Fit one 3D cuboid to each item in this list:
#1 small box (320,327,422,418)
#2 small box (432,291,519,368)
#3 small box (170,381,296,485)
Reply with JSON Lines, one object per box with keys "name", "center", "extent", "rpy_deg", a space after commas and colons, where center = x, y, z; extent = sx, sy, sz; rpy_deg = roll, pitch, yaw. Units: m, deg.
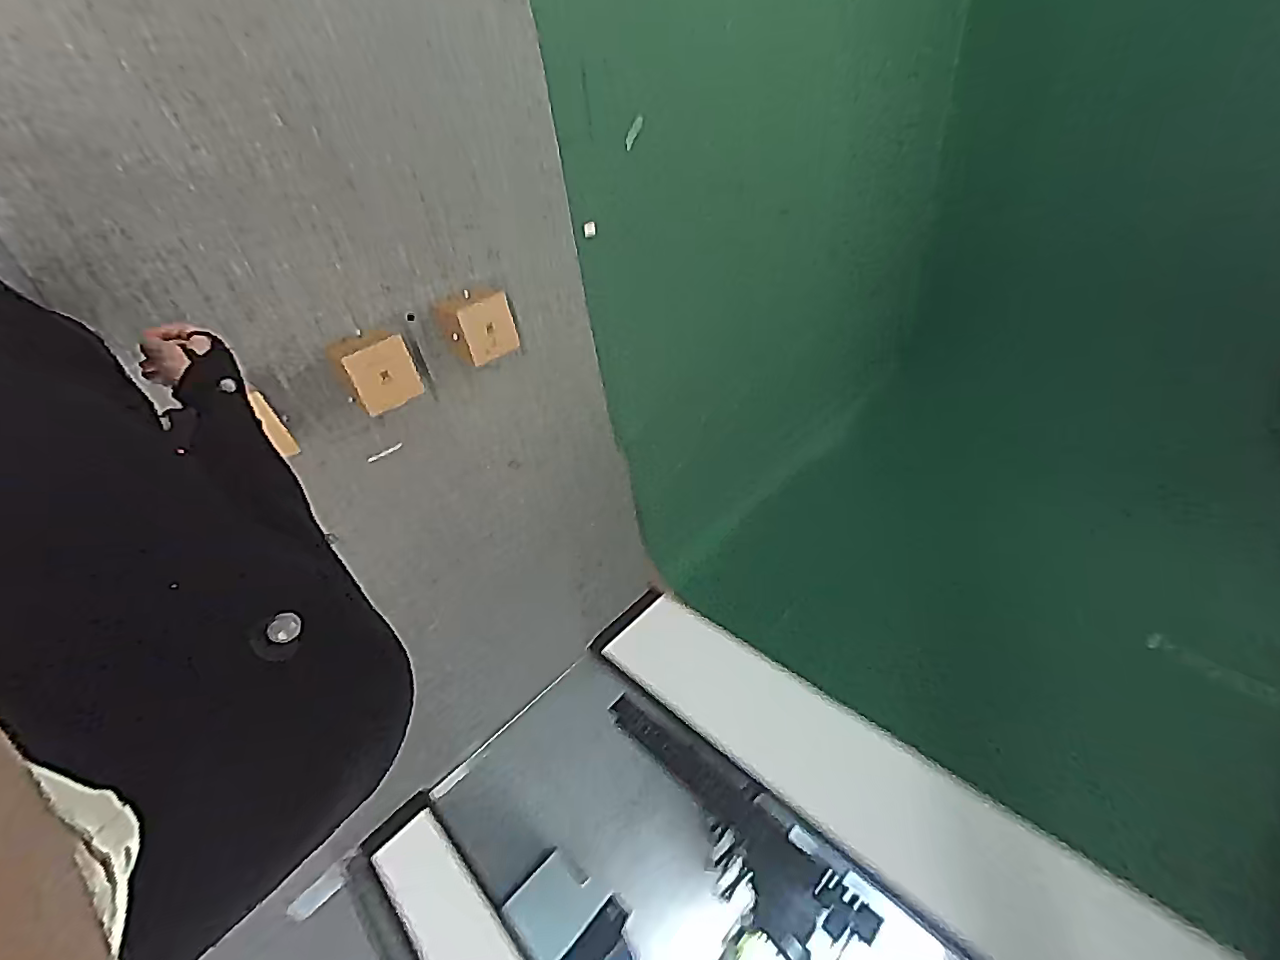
{"name": "small box", "center": [-0.733, -0.299, 1.475], "extent": [0.168, 0.176, 0.179], "rpy_deg": [-36, 132, -31]}
{"name": "small box", "center": [-0.502, -0.464, 1.639], "extent": [0.168, 0.176, 0.179], "rpy_deg": [-35, 133, -30]}
{"name": "small box", "center": [-0.979, -0.122, 1.300], "extent": [0.168, 0.176, 0.179], "rpy_deg": [-38, 135, -28]}
